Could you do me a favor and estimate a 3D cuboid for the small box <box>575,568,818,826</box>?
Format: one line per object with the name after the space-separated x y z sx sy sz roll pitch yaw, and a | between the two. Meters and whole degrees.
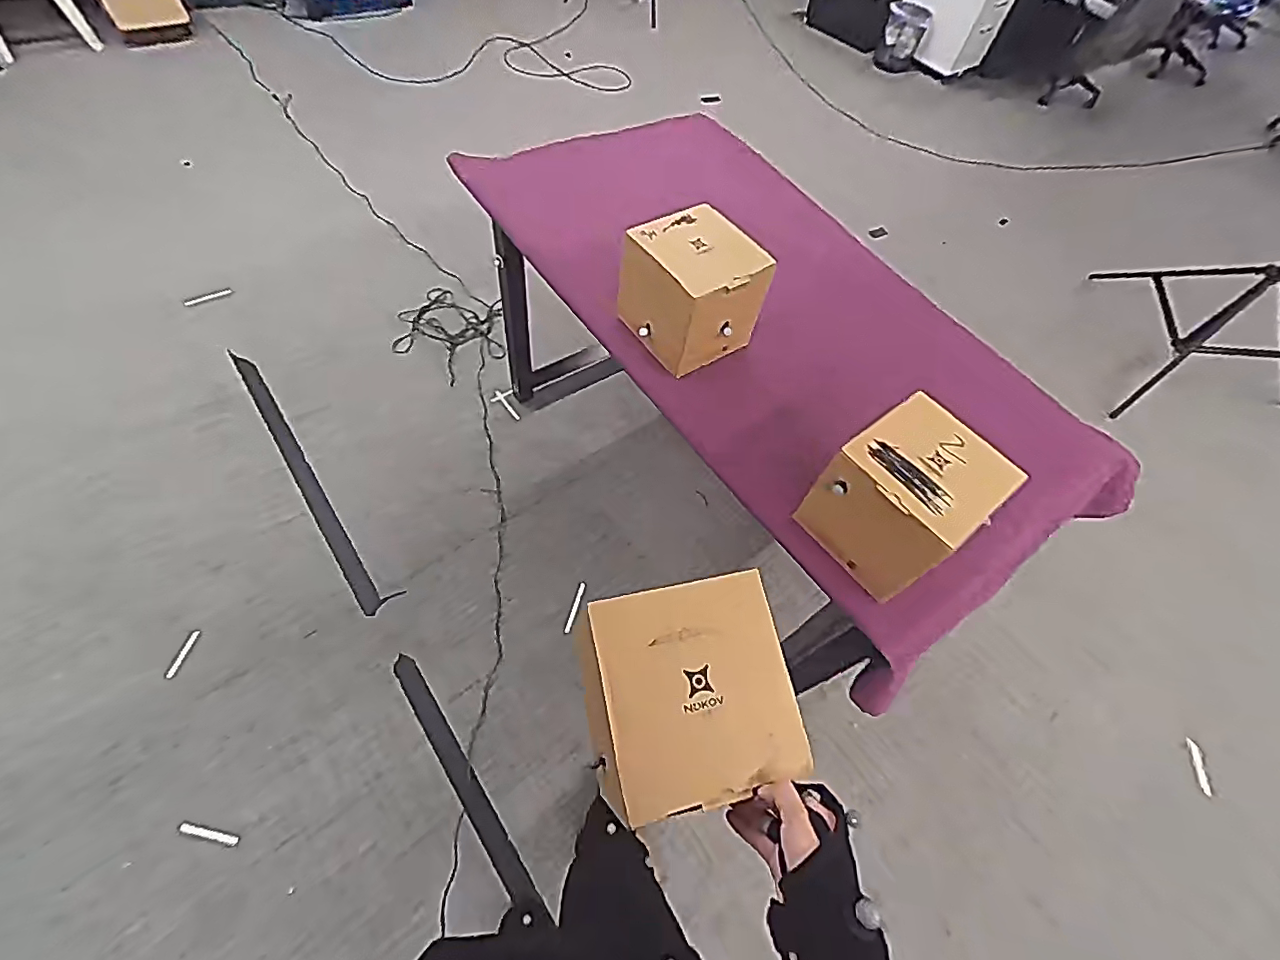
0.038 0.200 0.527 0.168 0.176 0.179 -8 70 -17 | small box

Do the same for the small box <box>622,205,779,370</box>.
0.087 -0.303 0.878 0.168 0.176 0.179 -30 67 -22 | small box
